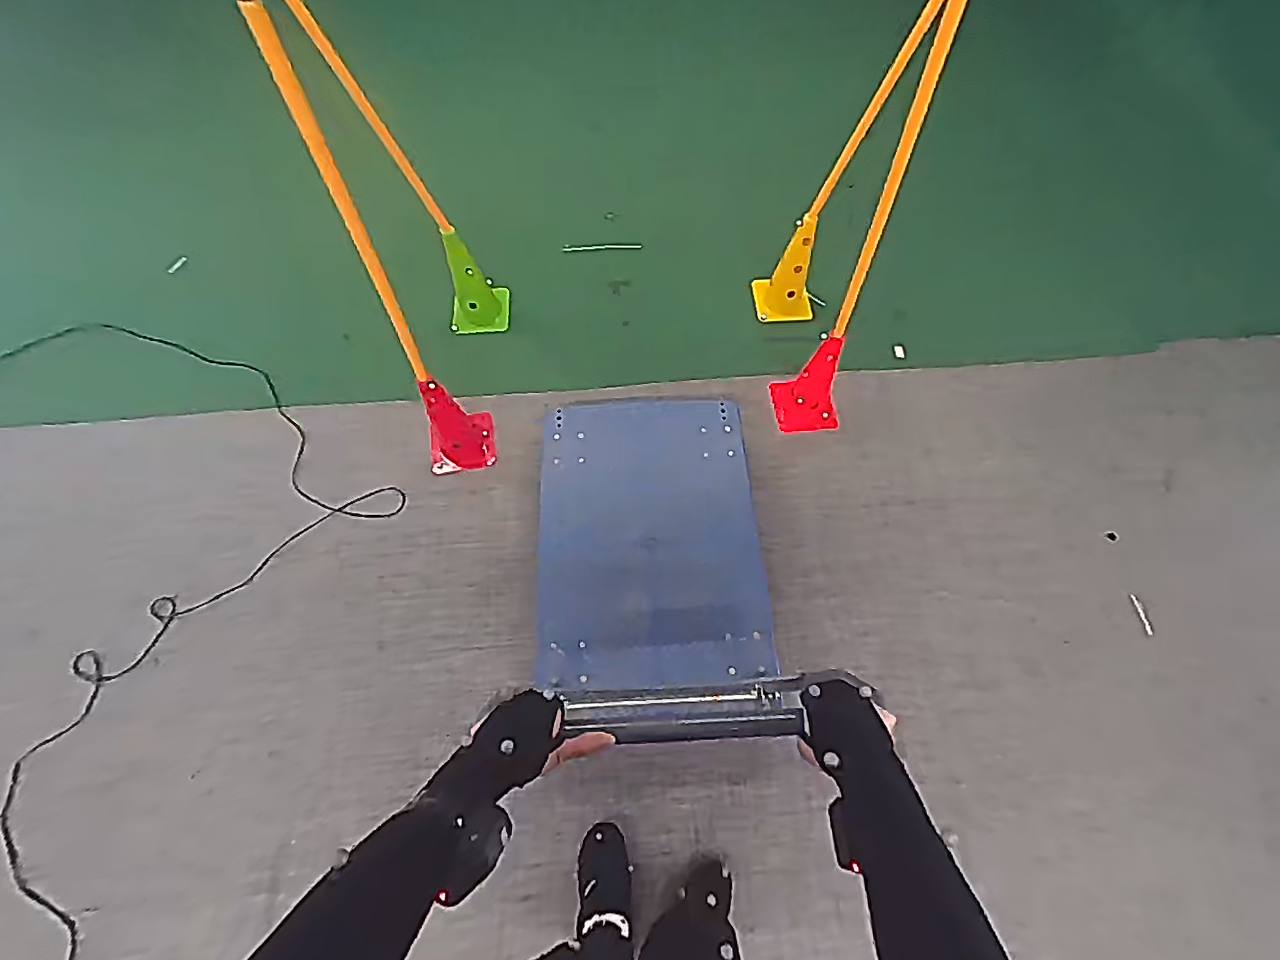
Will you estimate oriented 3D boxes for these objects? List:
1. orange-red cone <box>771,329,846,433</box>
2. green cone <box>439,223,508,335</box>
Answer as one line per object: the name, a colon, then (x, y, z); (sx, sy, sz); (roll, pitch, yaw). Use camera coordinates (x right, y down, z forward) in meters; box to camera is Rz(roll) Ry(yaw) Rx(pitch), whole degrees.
orange-red cone: (0.539, -0.319, 1.625); (0.198, 0.360, 0.199); (-4, 63, -2)
green cone: (-0.581, -0.682, 1.795); (0.200, 0.368, 0.202); (-4, 64, -1)
